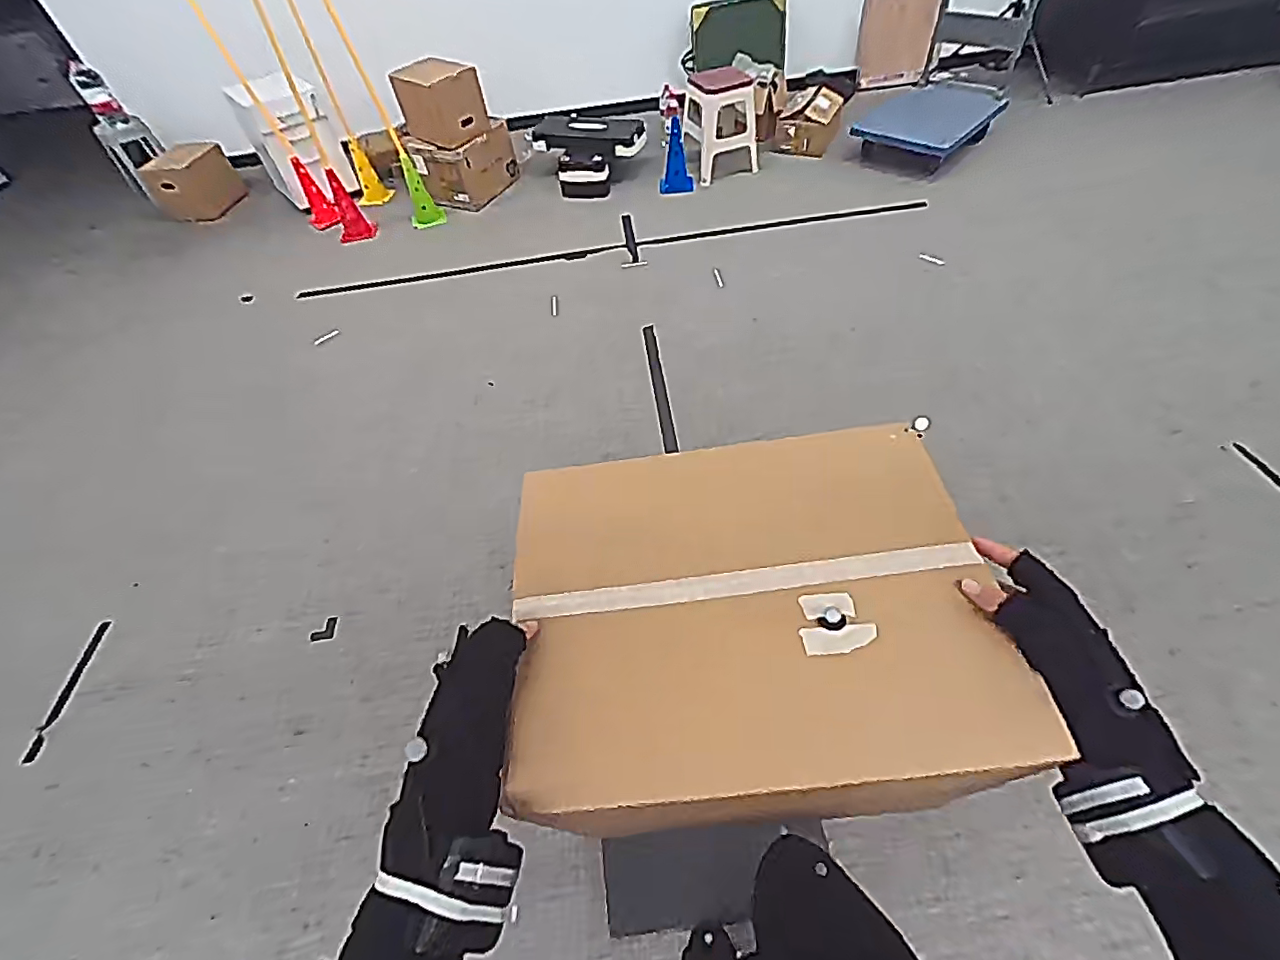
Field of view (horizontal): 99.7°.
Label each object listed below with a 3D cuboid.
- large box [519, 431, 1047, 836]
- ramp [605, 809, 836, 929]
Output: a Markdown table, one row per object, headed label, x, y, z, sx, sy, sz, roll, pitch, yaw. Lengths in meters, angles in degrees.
| label | x | y | z | sx | sy | sz | roll | pitch | yaw |
| --- | --- | --- | --- | --- | --- | --- | --- | --- | --- |
| large box | 0.106 | 0.185 | 0.607 | 0.408 | 0.320 | 0.320 | -8 | 53 | 3 |
| ramp | 0.113 | 0.481 | 1.384 | 0.509 | 0.206 | 0.991 | -10 | 52 | -3 |
